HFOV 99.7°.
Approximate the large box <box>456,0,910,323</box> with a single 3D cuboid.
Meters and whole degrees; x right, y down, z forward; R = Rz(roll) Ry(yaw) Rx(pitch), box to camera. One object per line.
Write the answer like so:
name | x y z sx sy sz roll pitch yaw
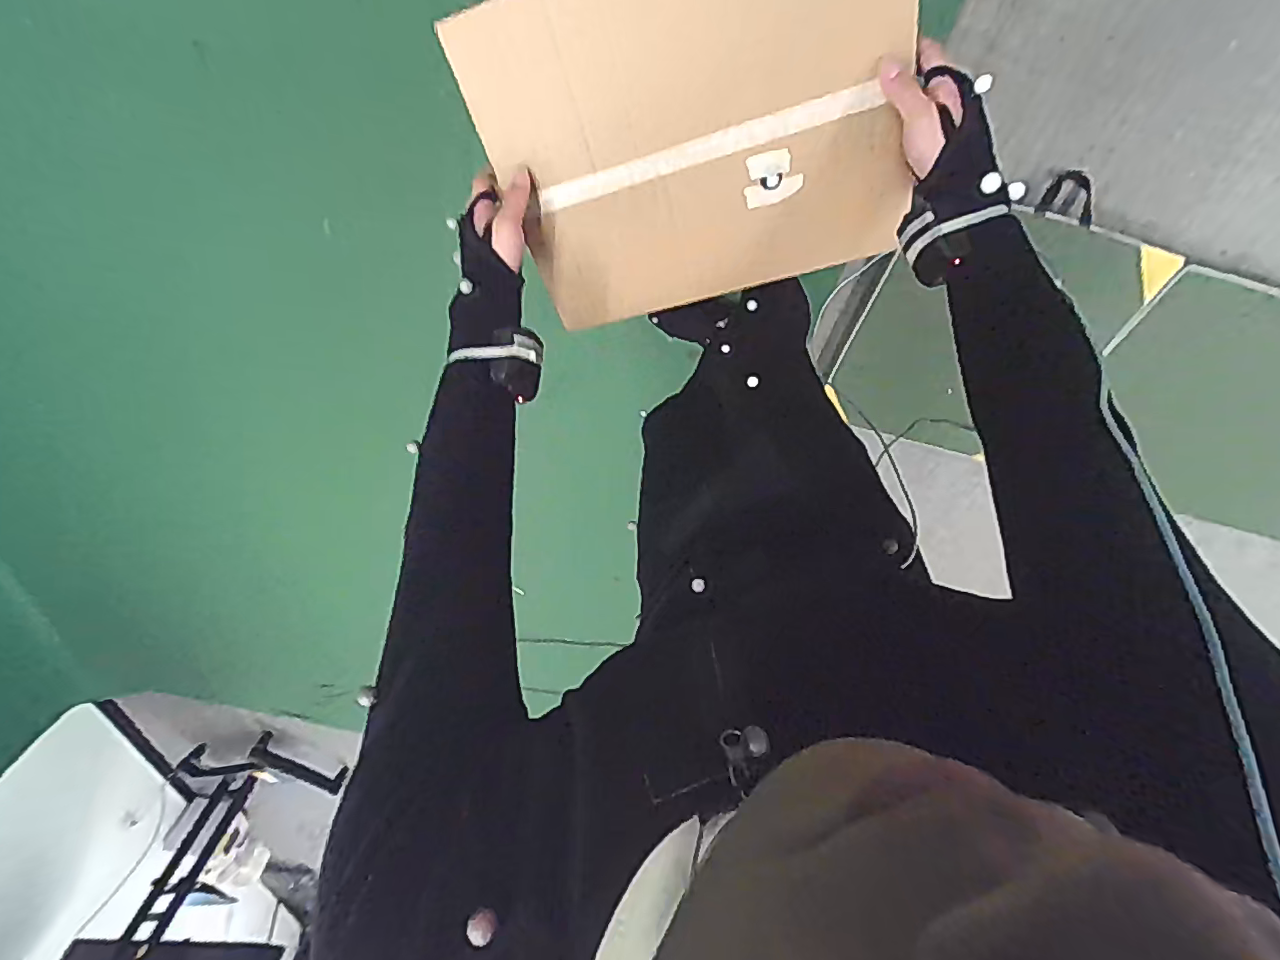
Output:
large box | 0.063 -0.444 0.656 0.408 0.320 0.320 -11 133 12
